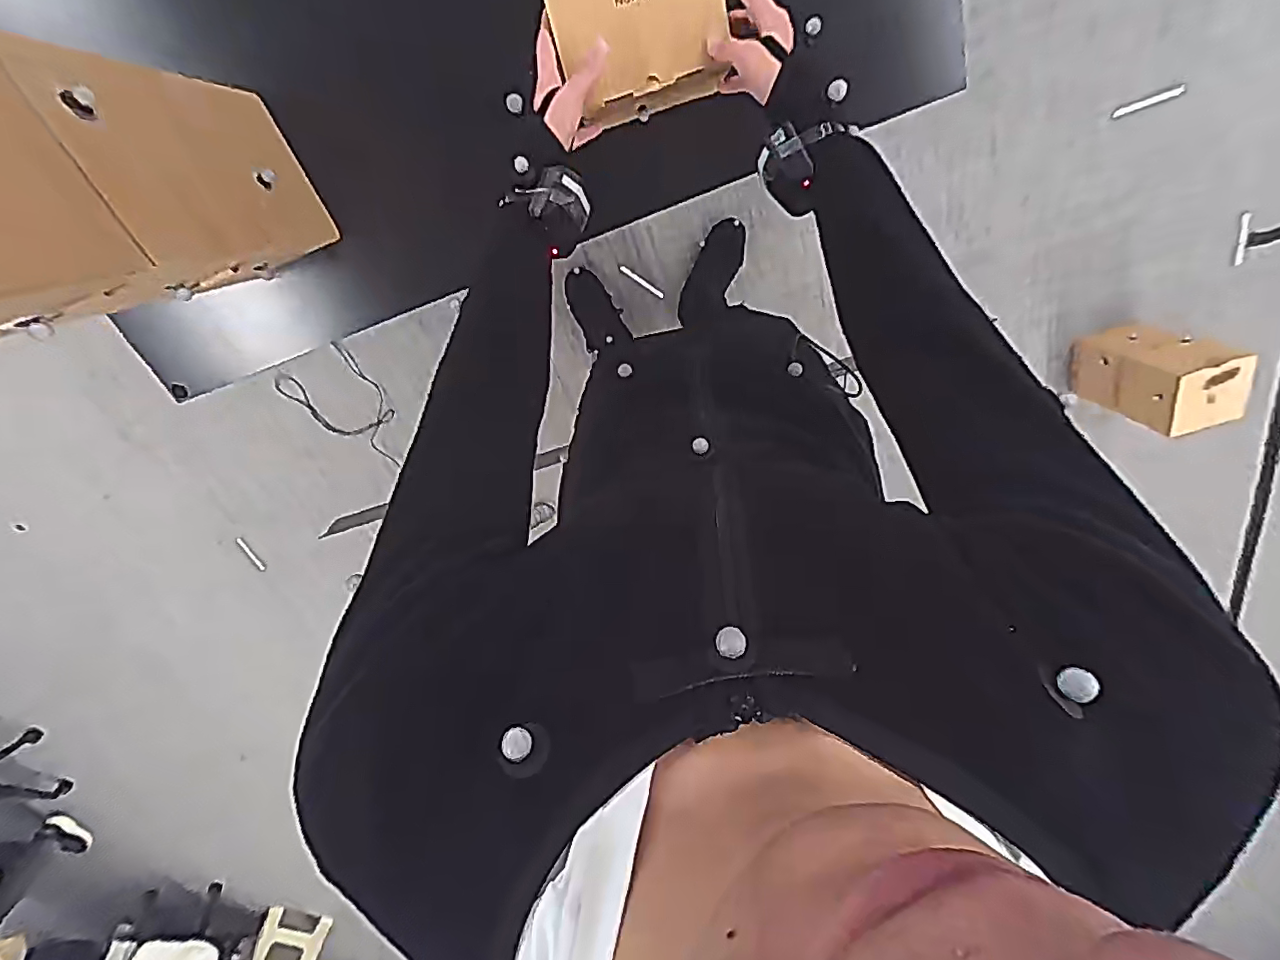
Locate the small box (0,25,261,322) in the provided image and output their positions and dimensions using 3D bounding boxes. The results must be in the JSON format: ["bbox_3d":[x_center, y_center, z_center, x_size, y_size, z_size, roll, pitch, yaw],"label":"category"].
[{"bbox_3d":[-0.509,-0.260,0.491,0.168,0.176,0.179,-19,117,10],"label":"small box"}]

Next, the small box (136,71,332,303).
[{"bbox_3d":[-0.511,-0.337,0.637,0.168,0.176,0.179,-20,117,9],"label":"small box"}]

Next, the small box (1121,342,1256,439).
[{"bbox_3d":[1.365,-0.234,1.361,0.168,0.176,0.179,-18,119,8],"label":"small box"}]

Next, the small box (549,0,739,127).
[{"bbox_3d":[-0.006,-0.494,0.557,0.168,0.176,0.179,-14,117,7],"label":"small box"}]

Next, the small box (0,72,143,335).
[{"bbox_3d":[-0.506,-0.182,0.348,0.168,0.176,0.179,-19,118,10],"label":"small box"}]
